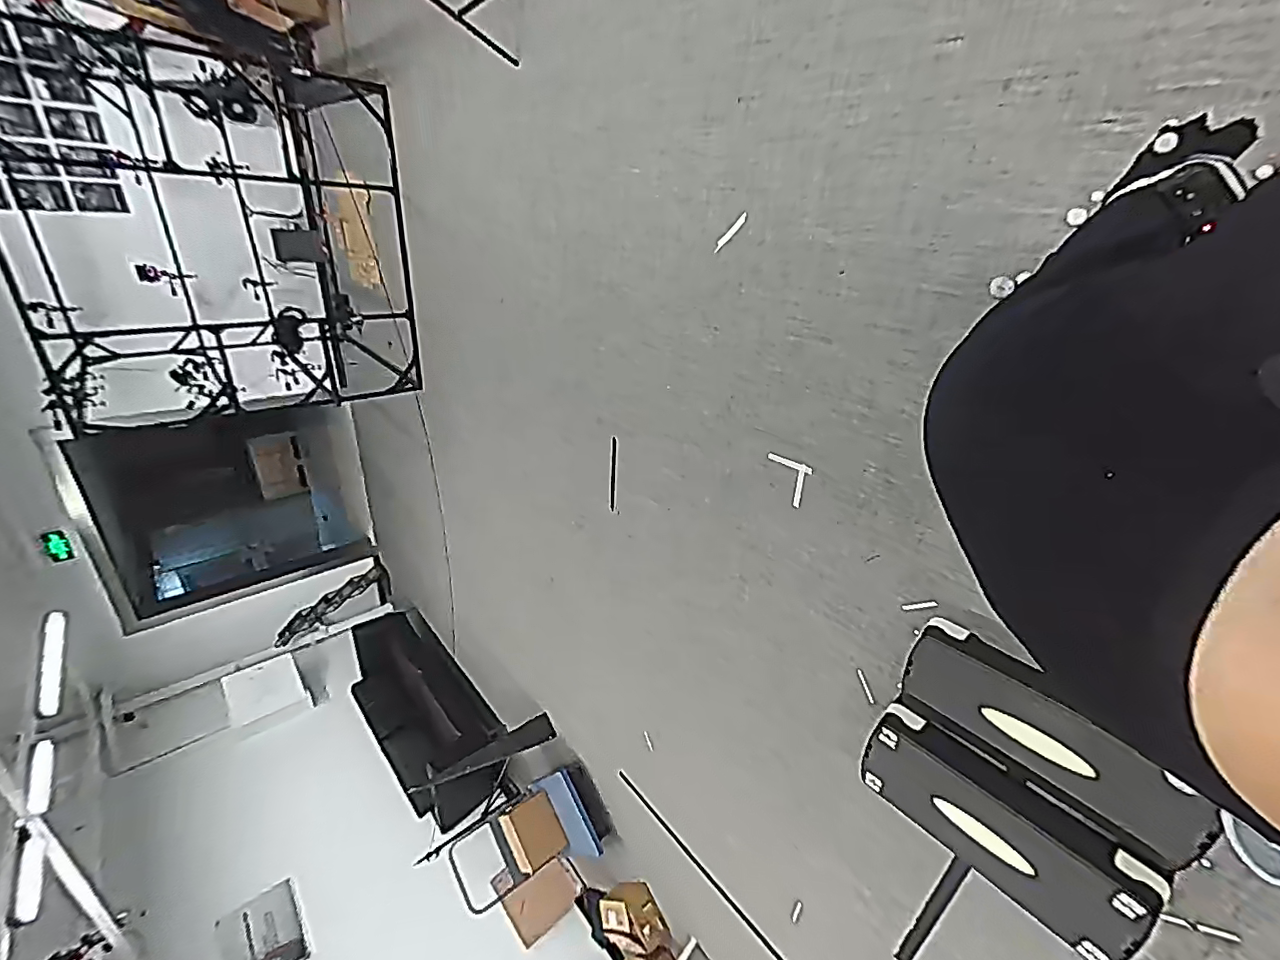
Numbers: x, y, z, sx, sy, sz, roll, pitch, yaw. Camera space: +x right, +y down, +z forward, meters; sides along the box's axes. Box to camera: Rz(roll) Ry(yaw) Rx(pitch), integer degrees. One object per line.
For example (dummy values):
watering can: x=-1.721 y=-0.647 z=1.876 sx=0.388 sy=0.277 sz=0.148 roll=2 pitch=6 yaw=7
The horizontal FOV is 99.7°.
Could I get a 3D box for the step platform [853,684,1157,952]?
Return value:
step platform: x=0.957 y=0.900 z=1.512 sx=0.684 sy=0.204 sz=0.286 roll=29 pitch=126 yaw=43
